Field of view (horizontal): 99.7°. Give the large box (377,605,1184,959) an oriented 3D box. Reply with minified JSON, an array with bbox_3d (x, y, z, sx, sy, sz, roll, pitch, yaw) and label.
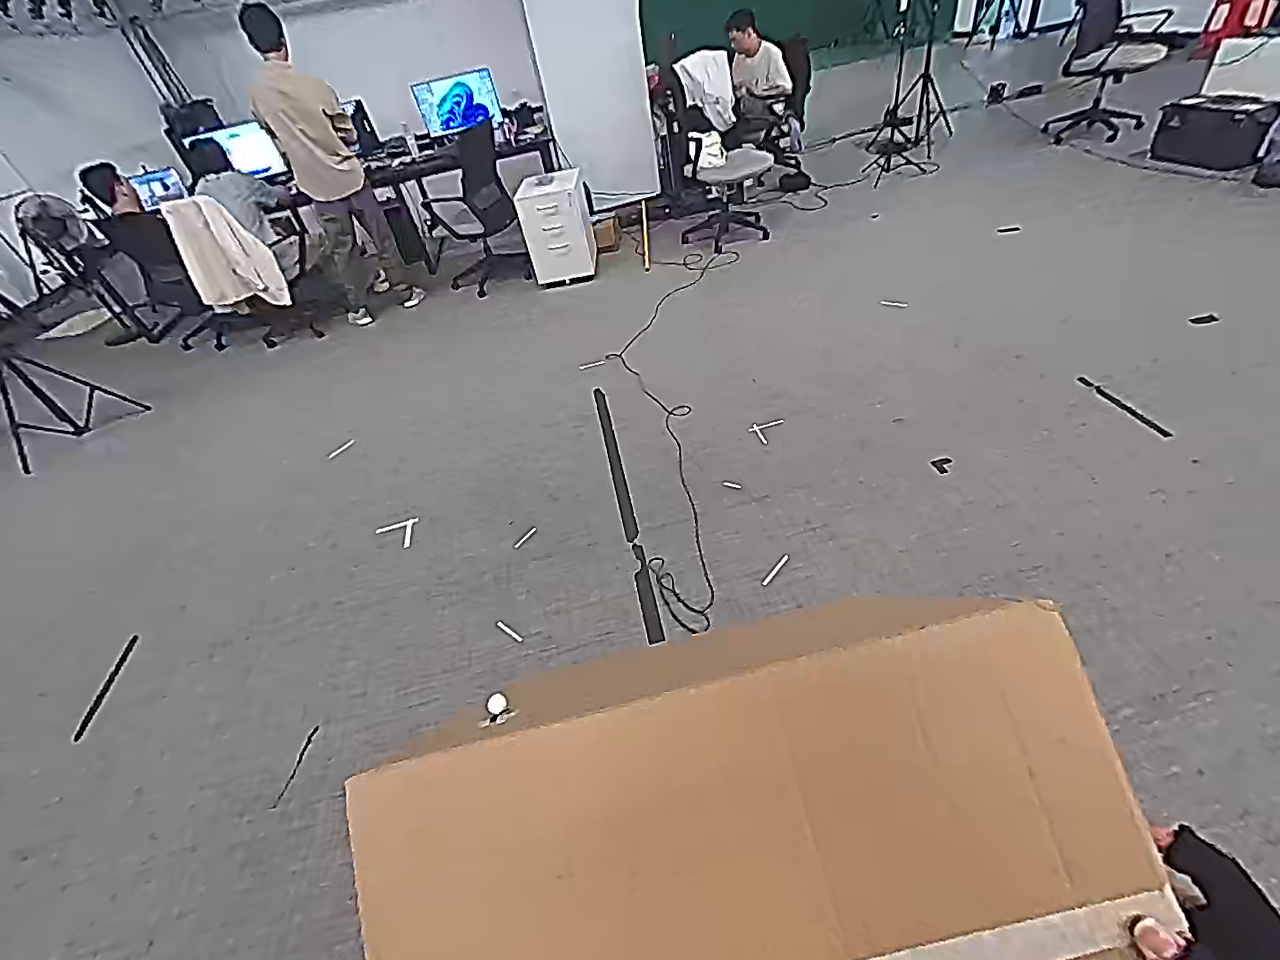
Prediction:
[{"bbox_3d":[0.083,0.299,0.424,0.408,0.320,0.320,-15,79,0],"label":"large box"}]
